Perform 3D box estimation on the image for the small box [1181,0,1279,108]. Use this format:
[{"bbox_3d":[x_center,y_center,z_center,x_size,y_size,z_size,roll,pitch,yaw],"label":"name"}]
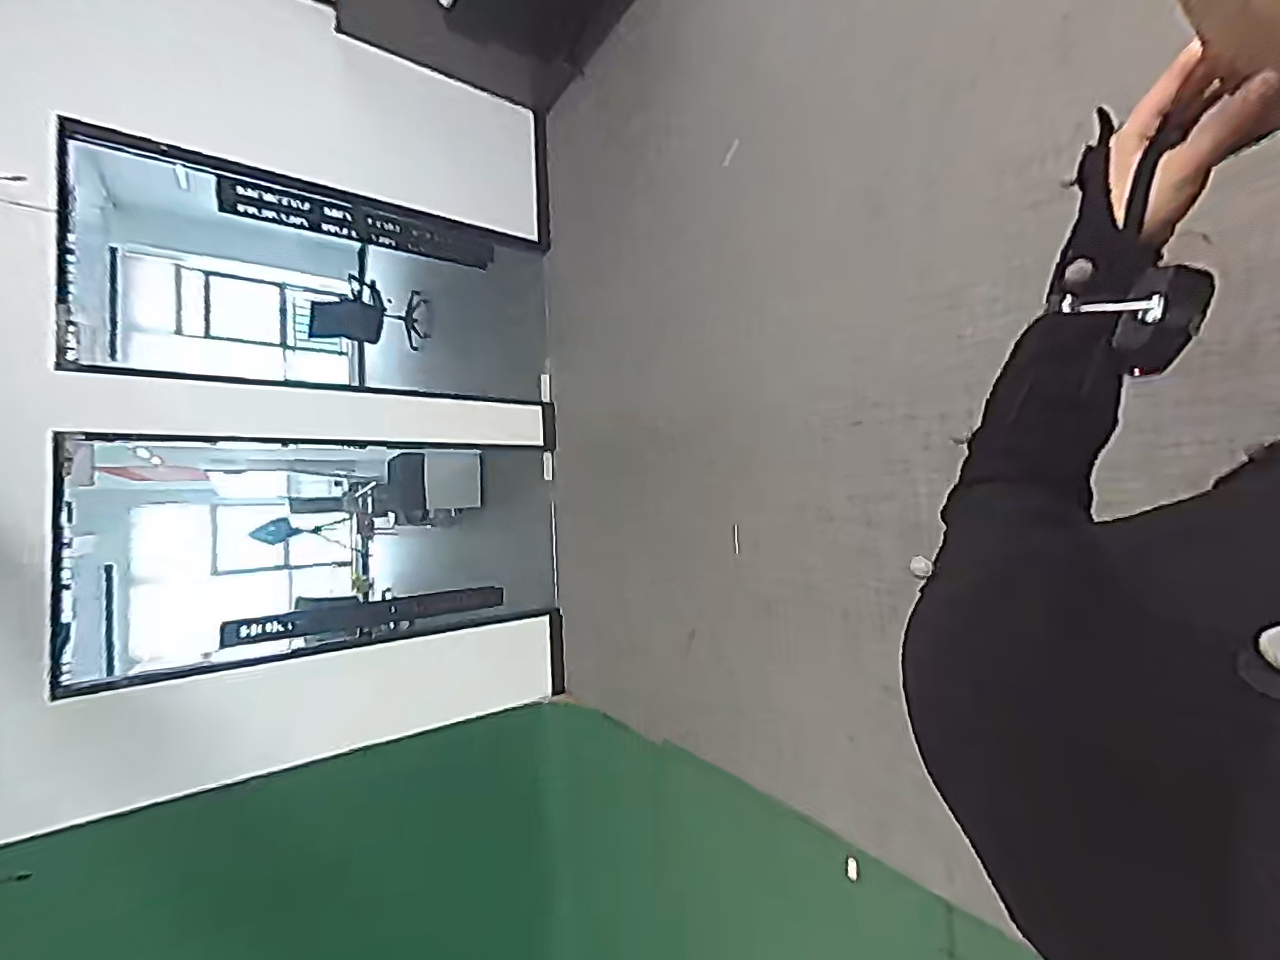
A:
[{"bbox_3d":[0.400,-0.259,0.226,0.179,0.176,0.168,-55,42,37],"label":"small box"}]
